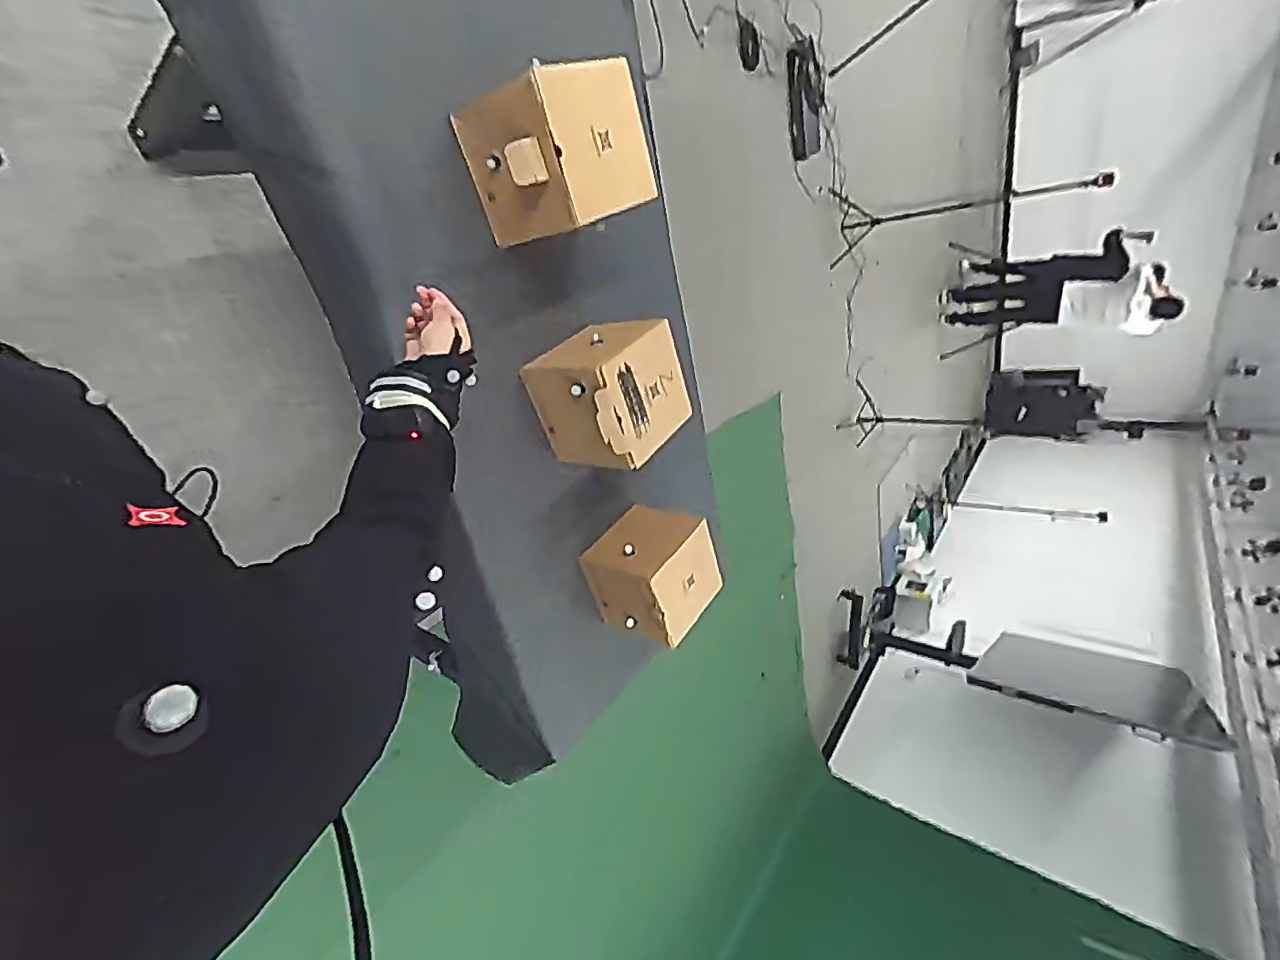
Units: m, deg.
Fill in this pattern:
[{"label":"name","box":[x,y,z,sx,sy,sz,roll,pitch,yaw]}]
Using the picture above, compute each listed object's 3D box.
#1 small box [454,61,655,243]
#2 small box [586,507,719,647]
[{"label":"small box","box":[-0.110,-0.434,0.726,0.179,0.176,0.168,-43,128,-37]},{"label":"small box","box":[0.020,0.169,0.995,0.179,0.176,0.168,-44,129,-38]}]
